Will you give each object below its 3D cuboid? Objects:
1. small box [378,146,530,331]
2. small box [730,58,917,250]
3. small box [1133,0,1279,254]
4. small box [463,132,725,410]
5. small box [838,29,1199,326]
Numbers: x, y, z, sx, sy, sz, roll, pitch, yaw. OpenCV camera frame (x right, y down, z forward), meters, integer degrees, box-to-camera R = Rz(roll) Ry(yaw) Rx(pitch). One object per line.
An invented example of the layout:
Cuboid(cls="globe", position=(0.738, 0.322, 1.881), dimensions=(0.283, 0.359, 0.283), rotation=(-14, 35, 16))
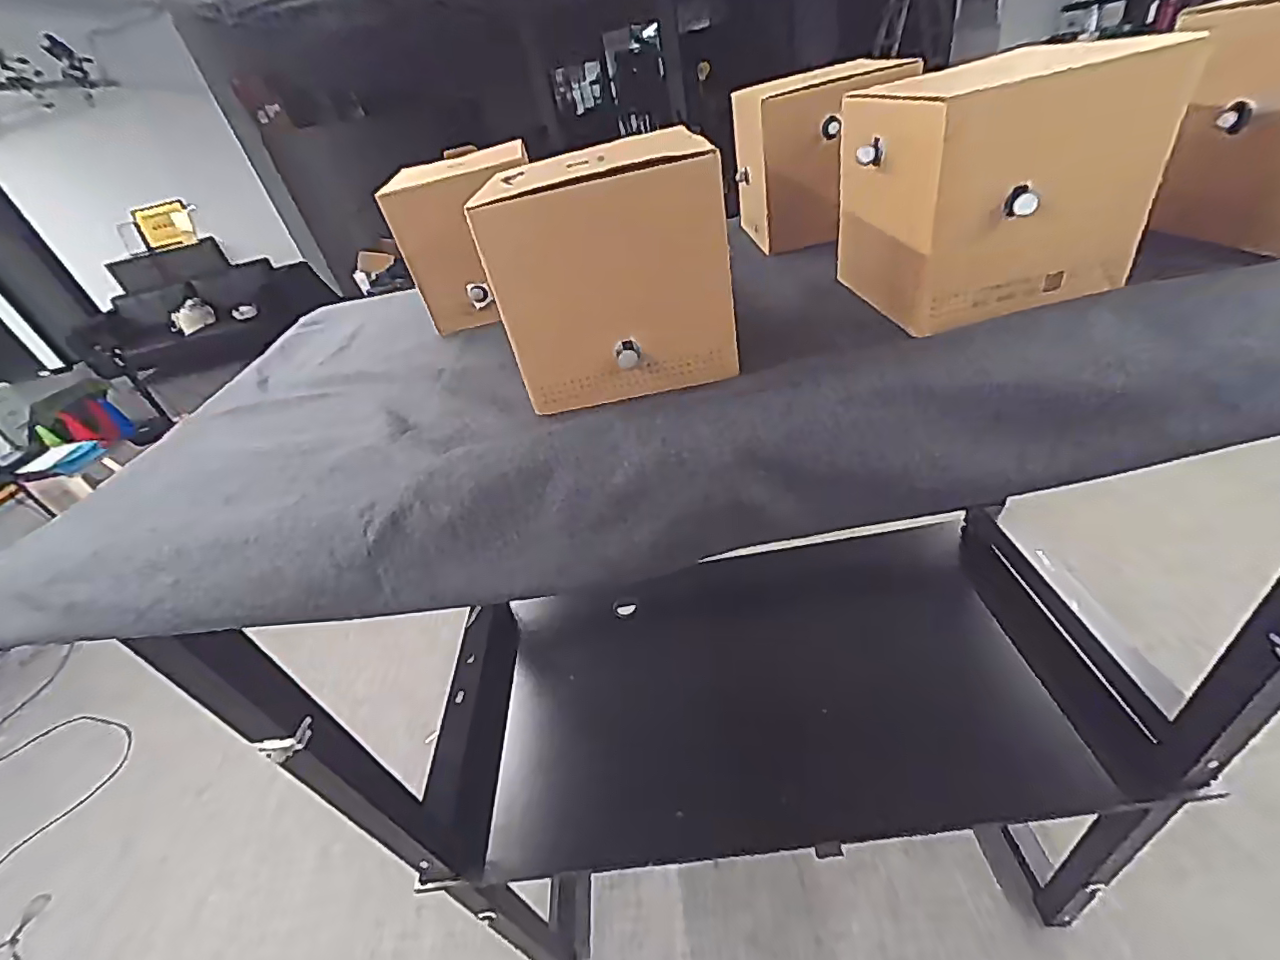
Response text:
Cuboid(cls="small box", position=(-0.202, -0.312, 0.699), dimensions=(0.168, 0.176, 0.179), rotation=(-15, 37, 0))
Cuboid(cls="small box", position=(0.221, -0.406, 0.682), dimensions=(0.179, 0.176, 0.168), rotation=(-10, 37, 5))
Cuboid(cls="small box", position=(0.546, -0.291, 0.421), dimensions=(0.168, 0.176, 0.179), rotation=(-14, 35, 1))
Cuboid(cls="small box", position=(-0.026, -0.182, 0.470), dimensions=(0.179, 0.176, 0.168), rotation=(-11, 36, 3))
Cuboid(cls="small box", position=(0.277, -0.242, 0.451), dimensions=(0.168, 0.176, 0.179), rotation=(-12, 36, 3))
